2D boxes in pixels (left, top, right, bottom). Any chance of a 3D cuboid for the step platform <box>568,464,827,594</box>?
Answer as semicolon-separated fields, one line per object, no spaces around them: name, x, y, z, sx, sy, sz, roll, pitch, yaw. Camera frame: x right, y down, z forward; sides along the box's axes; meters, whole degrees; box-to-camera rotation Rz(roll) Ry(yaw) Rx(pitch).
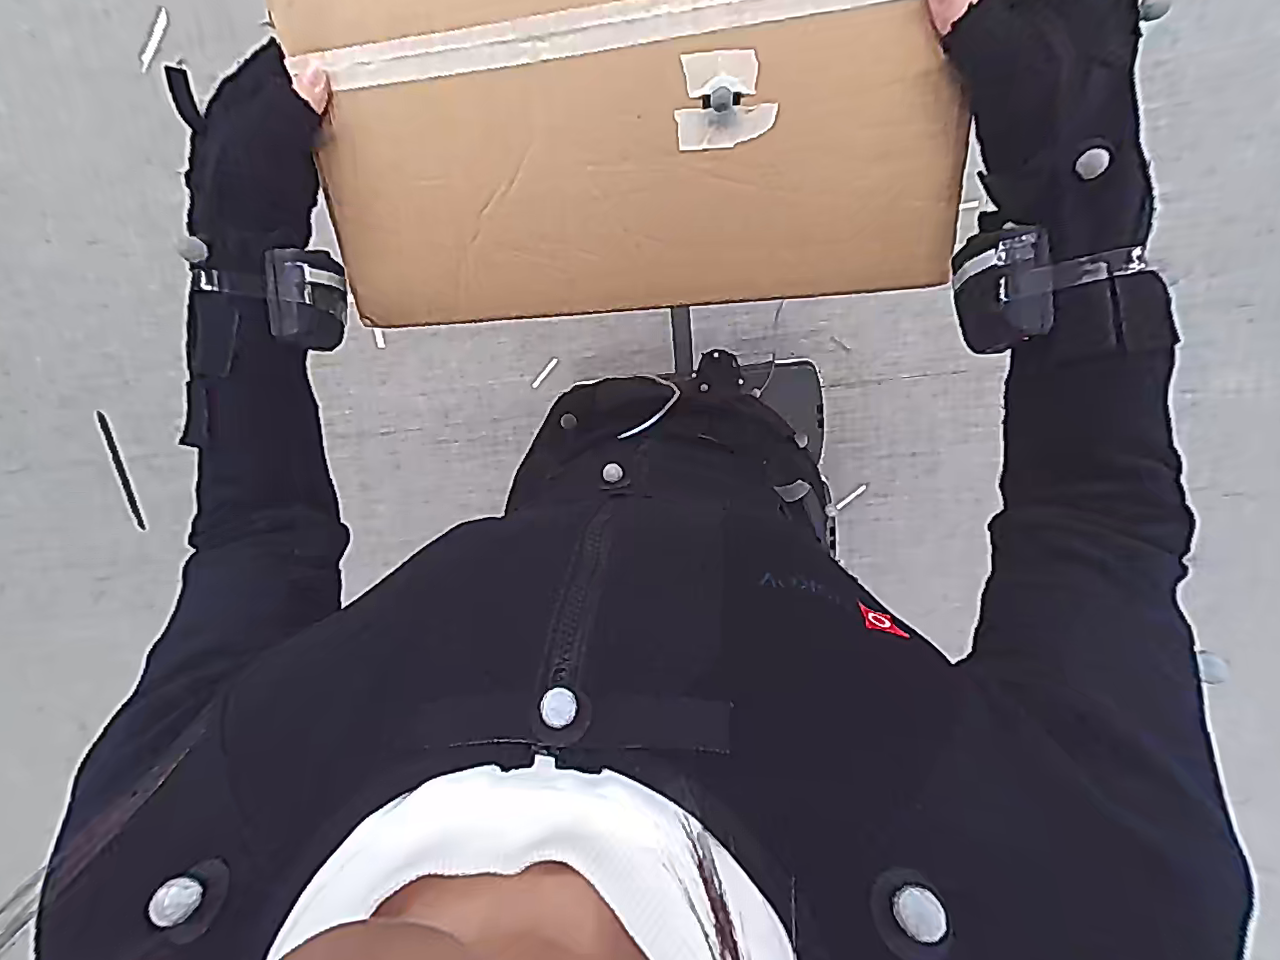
step platform;0.150;0.139;1.477;0.684;0.204;0.286;-5;104;10

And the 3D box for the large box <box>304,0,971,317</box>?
large box;0.005;-0.332;0.459;0.408;0.320;0.320;-2;114;9
